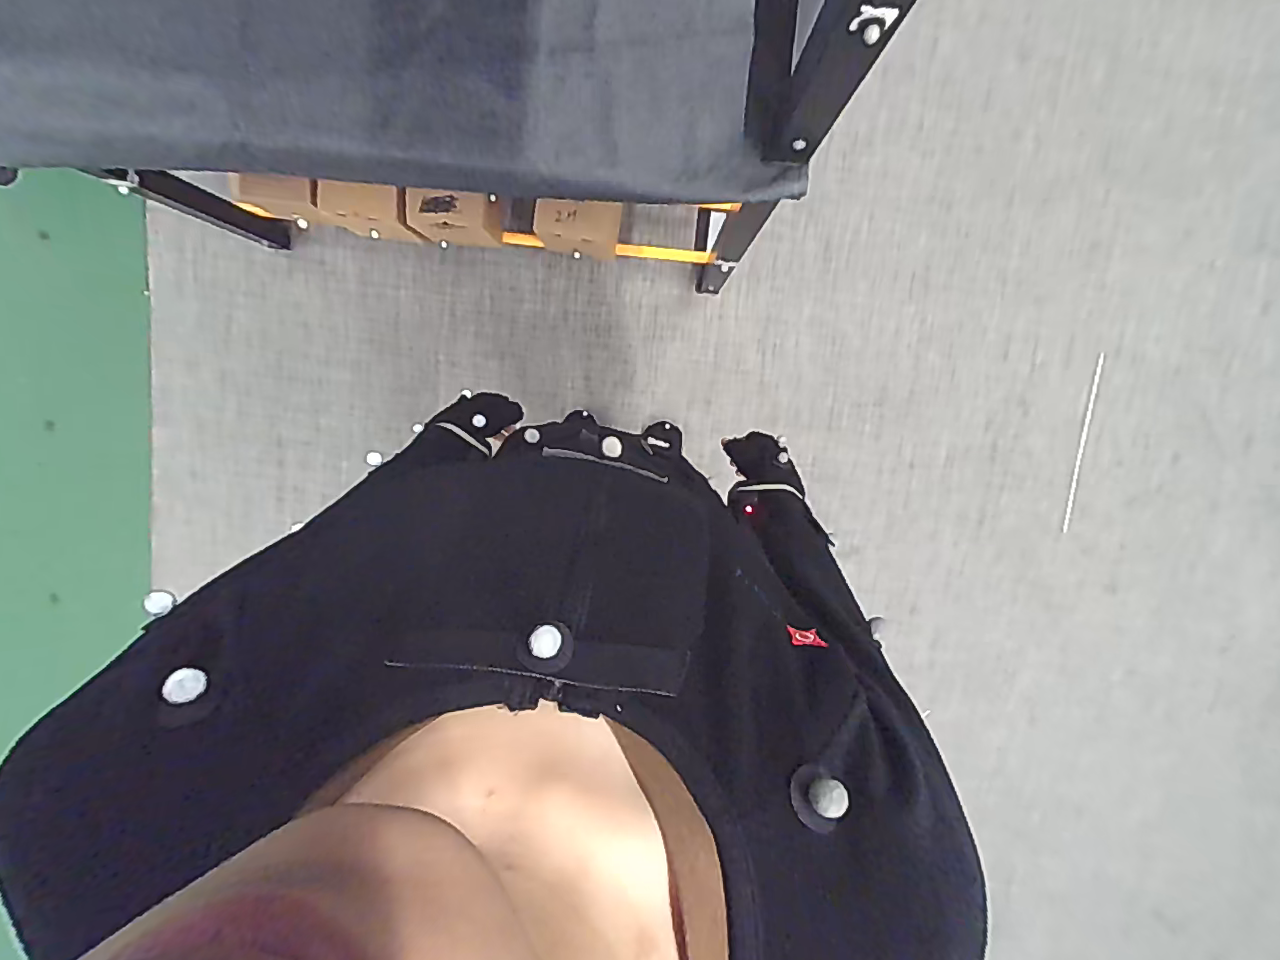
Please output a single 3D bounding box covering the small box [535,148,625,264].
[{"bbox_3d":[-0.128,-0.608,1.221,0.168,0.176,0.179,11,100,0],"label":"small box"}]
